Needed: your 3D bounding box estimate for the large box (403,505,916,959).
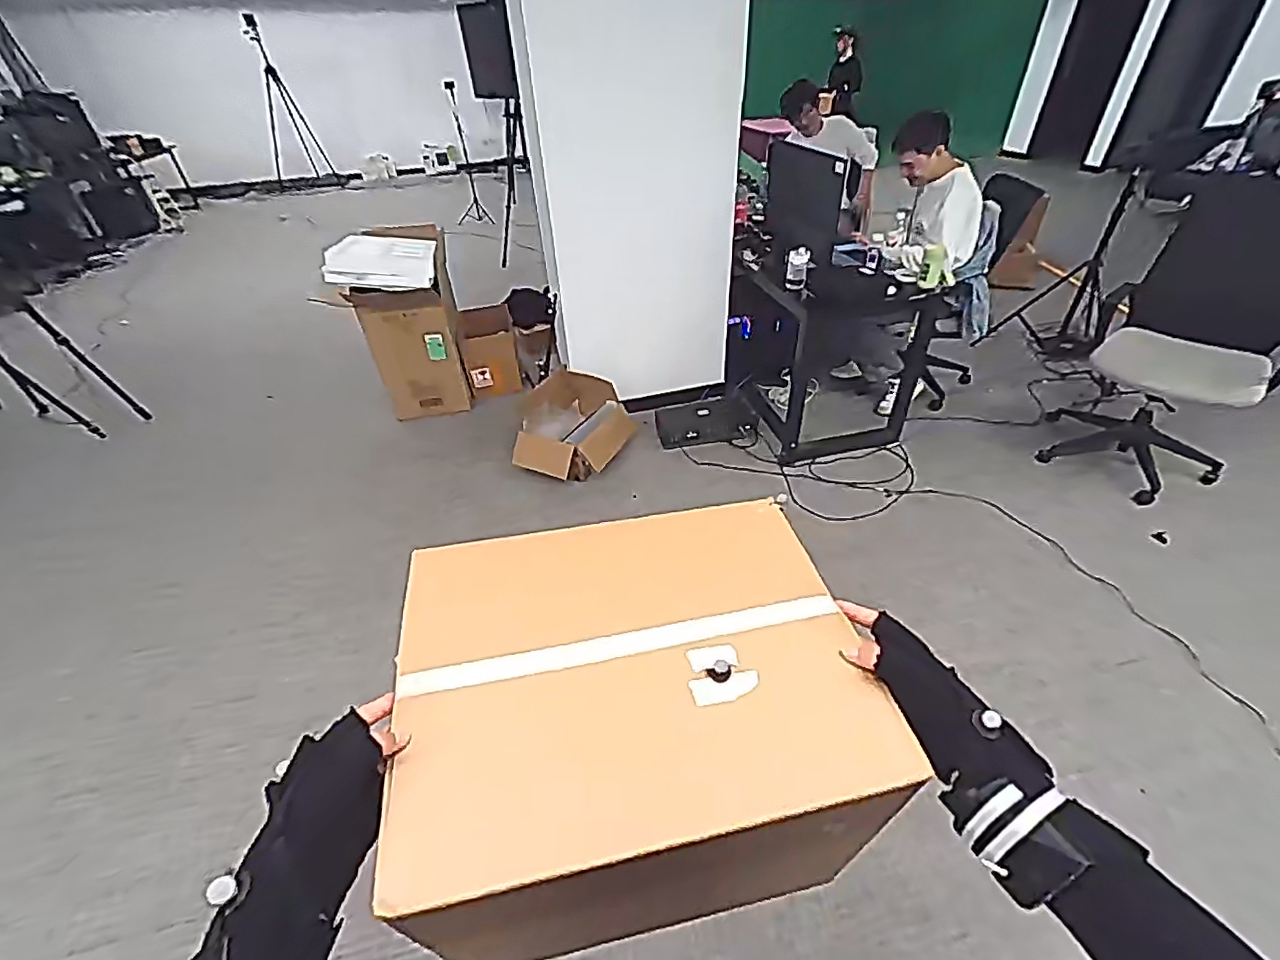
[{"bbox_3d":[-0.006,0.267,0.600,0.408,0.320,0.320,-8,43,-10],"label":"large box"}]
